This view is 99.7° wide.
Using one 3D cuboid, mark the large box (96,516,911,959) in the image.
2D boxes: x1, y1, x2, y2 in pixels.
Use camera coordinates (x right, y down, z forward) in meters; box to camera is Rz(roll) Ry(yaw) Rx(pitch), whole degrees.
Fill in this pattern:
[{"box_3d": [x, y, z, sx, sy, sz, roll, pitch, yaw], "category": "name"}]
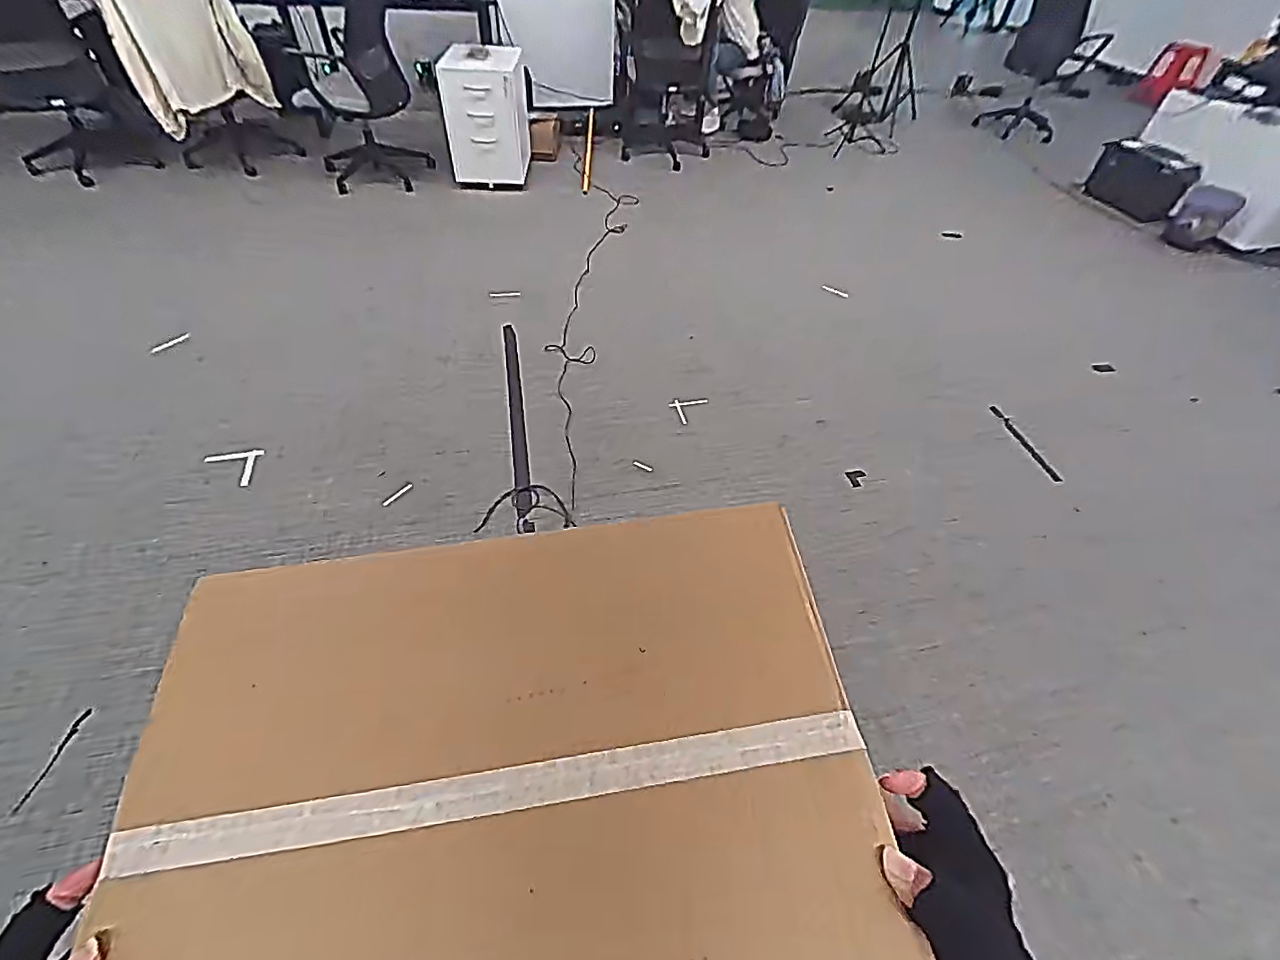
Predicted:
[{"box_3d": [-0.075, 0.260, 0.431, 0.408, 0.320, 0.320, -7, 56, -4], "category": "large box"}]
